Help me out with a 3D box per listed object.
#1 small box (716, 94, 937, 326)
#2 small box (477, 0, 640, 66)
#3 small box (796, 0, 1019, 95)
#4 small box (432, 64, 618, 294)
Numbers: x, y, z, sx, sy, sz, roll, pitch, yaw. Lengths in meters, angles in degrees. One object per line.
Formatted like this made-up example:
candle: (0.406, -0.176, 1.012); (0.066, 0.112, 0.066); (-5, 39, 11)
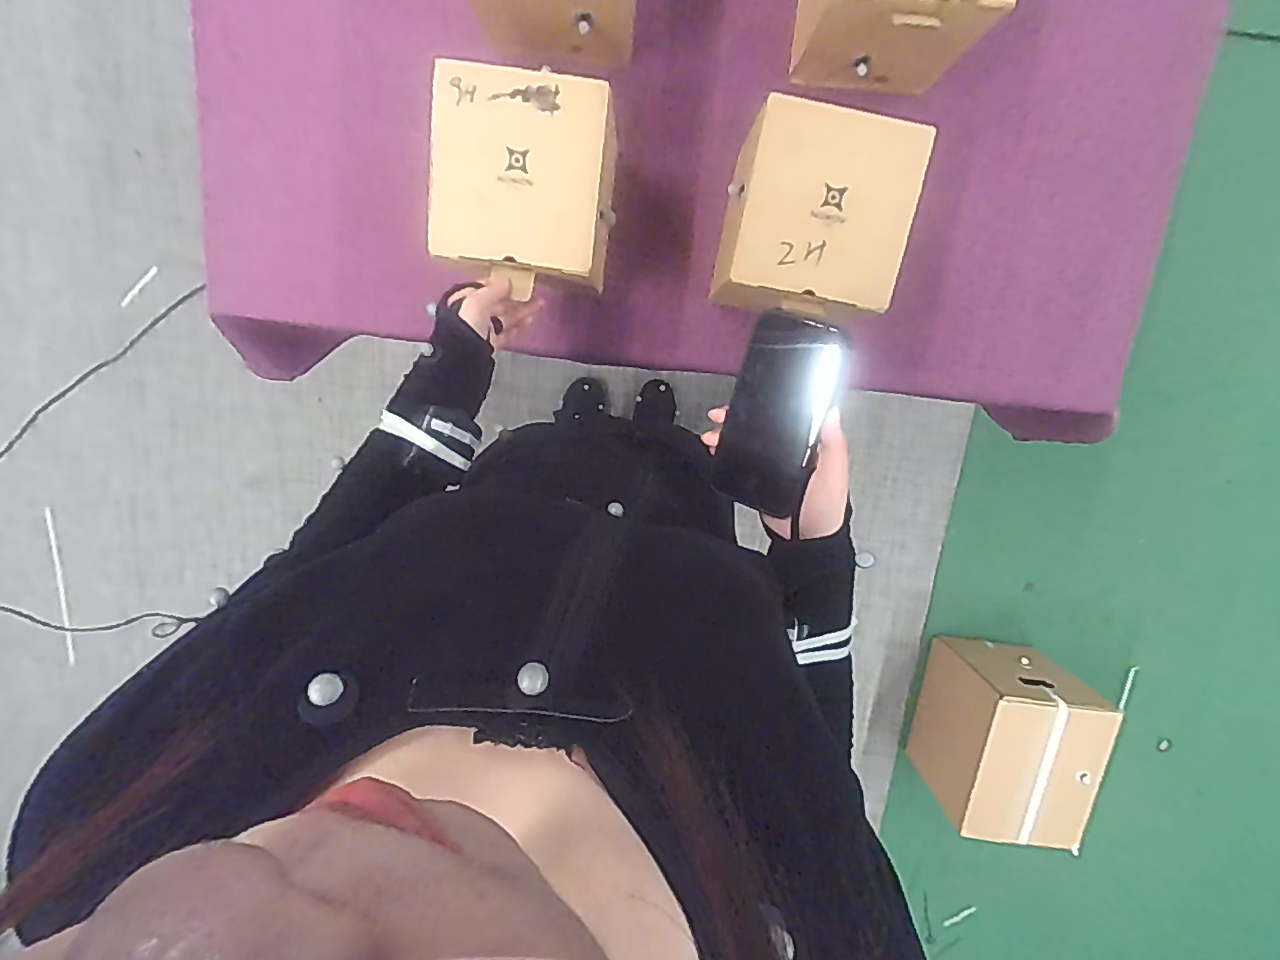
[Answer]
small box: (0.188, -0.281, 0.606); (0.168, 0.176, 0.179); (11, 102, -2)
small box: (-0.079, -0.563, 0.548); (0.168, 0.176, 0.179); (6, 102, -2)
small box: (0.270, -0.536, 0.552); (0.168, 0.176, 0.179); (4, 103, 0)
small box: (-0.116, -0.312, 0.601); (0.168, 0.176, 0.179); (7, 103, -2)
